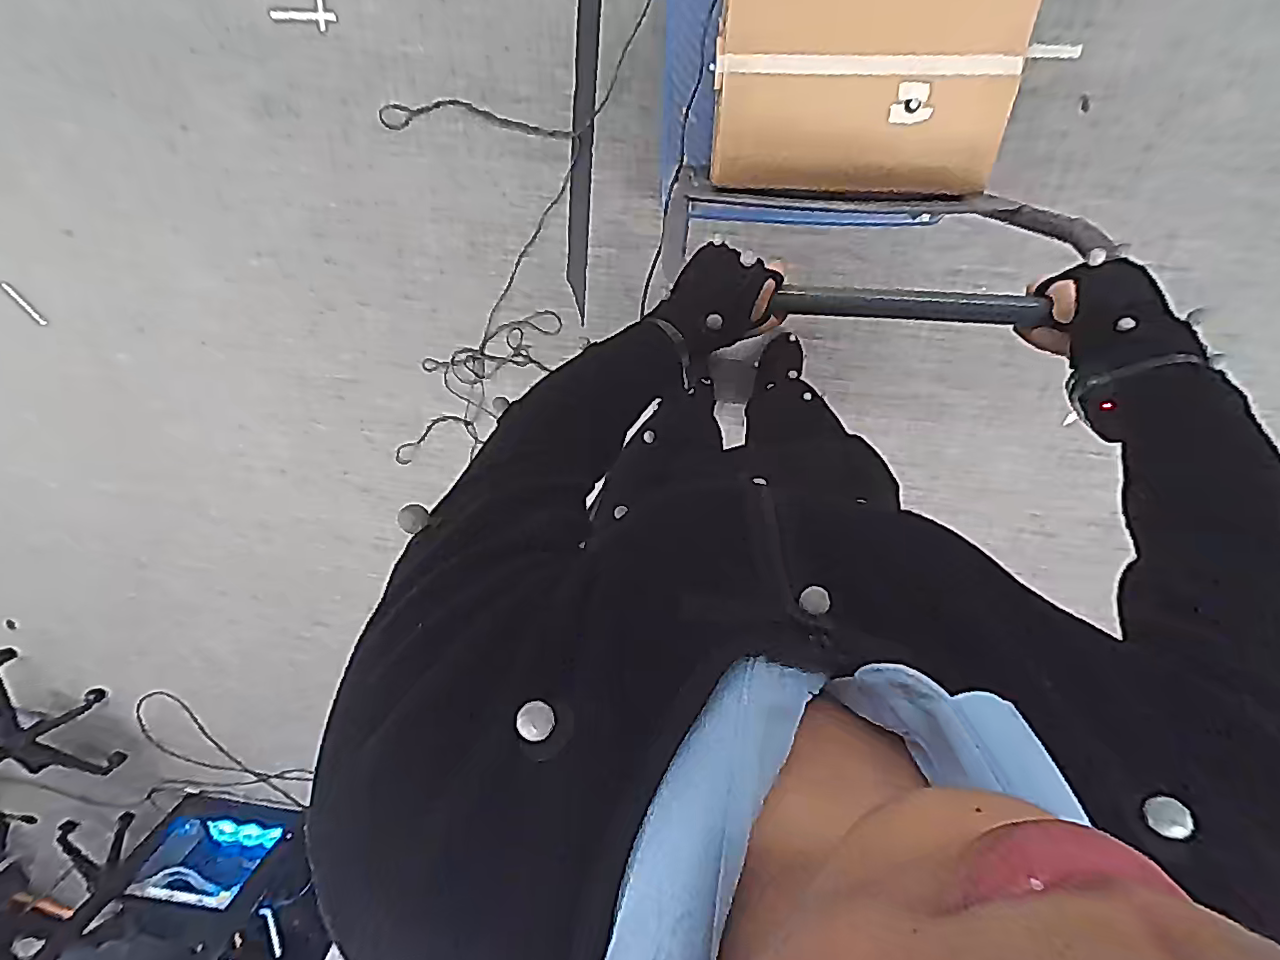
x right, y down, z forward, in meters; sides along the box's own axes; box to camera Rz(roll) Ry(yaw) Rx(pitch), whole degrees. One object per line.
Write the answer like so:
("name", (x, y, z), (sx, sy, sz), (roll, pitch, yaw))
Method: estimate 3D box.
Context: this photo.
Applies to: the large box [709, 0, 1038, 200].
("large box", (0.325, -0.637, 0.877), (0.408, 0.320, 0.320), (3, 121, 3))
